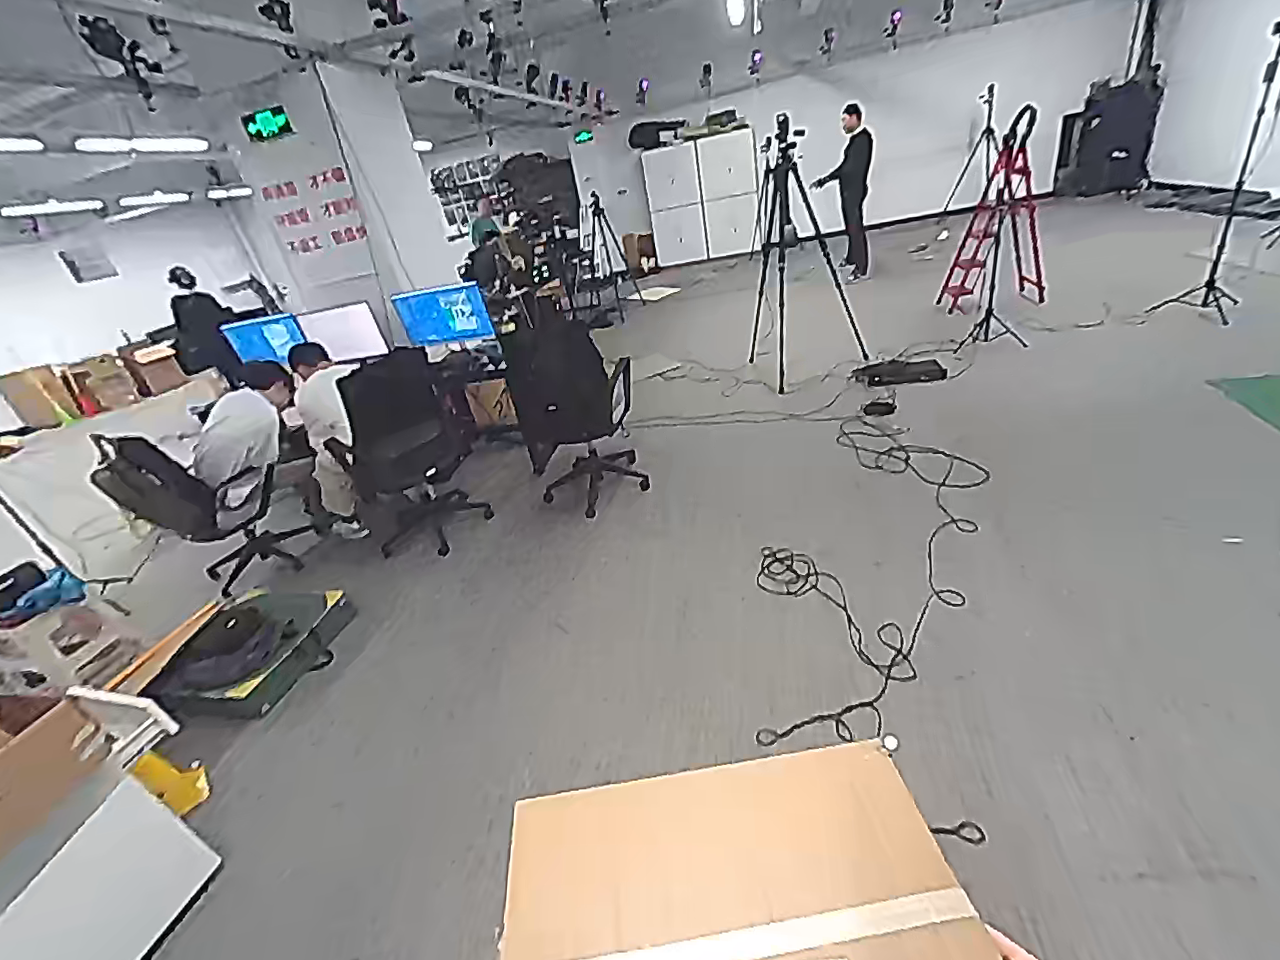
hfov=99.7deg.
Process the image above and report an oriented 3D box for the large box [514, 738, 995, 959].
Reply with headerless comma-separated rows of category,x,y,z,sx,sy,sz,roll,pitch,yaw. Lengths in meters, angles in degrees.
large box,0.099,0.520,0.539,0.408,0.320,0.320,-8,30,-2
